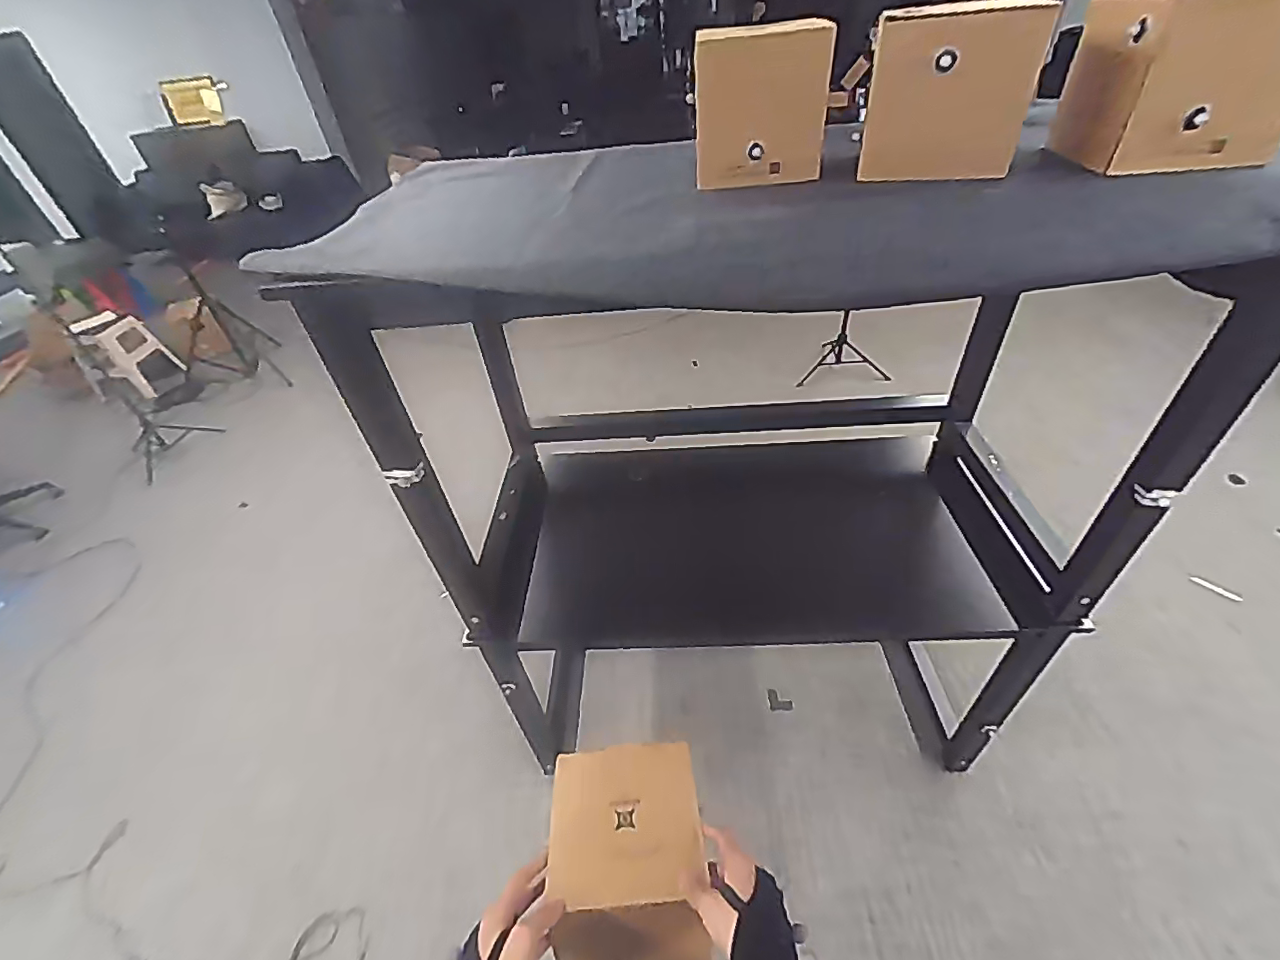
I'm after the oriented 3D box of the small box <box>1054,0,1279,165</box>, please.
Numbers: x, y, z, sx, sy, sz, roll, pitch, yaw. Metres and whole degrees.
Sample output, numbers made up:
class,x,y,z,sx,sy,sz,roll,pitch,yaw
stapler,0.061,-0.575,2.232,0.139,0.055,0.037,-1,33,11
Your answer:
class,x,y,z,sx,sy,sz,roll,pitch,yaw
small box,0.629,-0.477,0.626,0.168,0.176,0.179,1,42,9

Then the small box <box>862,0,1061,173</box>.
class,x,y,z,sx,sy,sz,roll,pitch,yaw
small box,0.386,-0.500,0.685,0.179,0.176,0.168,9,43,16

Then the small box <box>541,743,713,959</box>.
class,x,y,z,sx,sy,sz,roll,pitch,yaw
small box,-0.013,0.436,0.616,0.168,0.176,0.179,-4,25,-1
